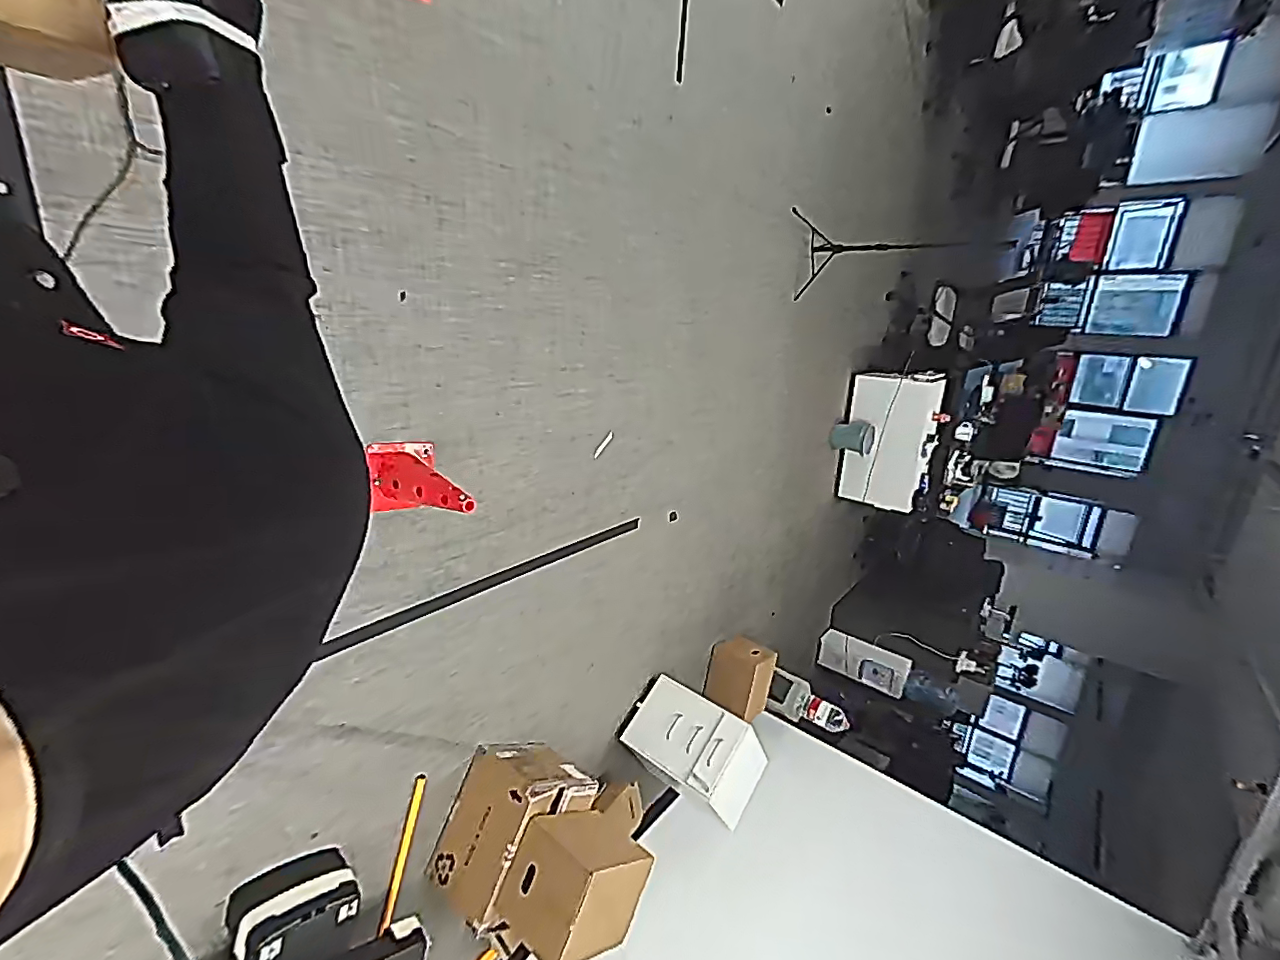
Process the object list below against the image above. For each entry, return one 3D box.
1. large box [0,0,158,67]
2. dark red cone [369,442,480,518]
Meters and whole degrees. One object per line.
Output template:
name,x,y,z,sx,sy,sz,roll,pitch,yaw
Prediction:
large box,-0.546,-0.451,0.247,0.408,0.320,0.320,-17,125,-50
dark red cone,-0.555,0.026,1.455,0.201,0.394,0.202,-8,109,-49
